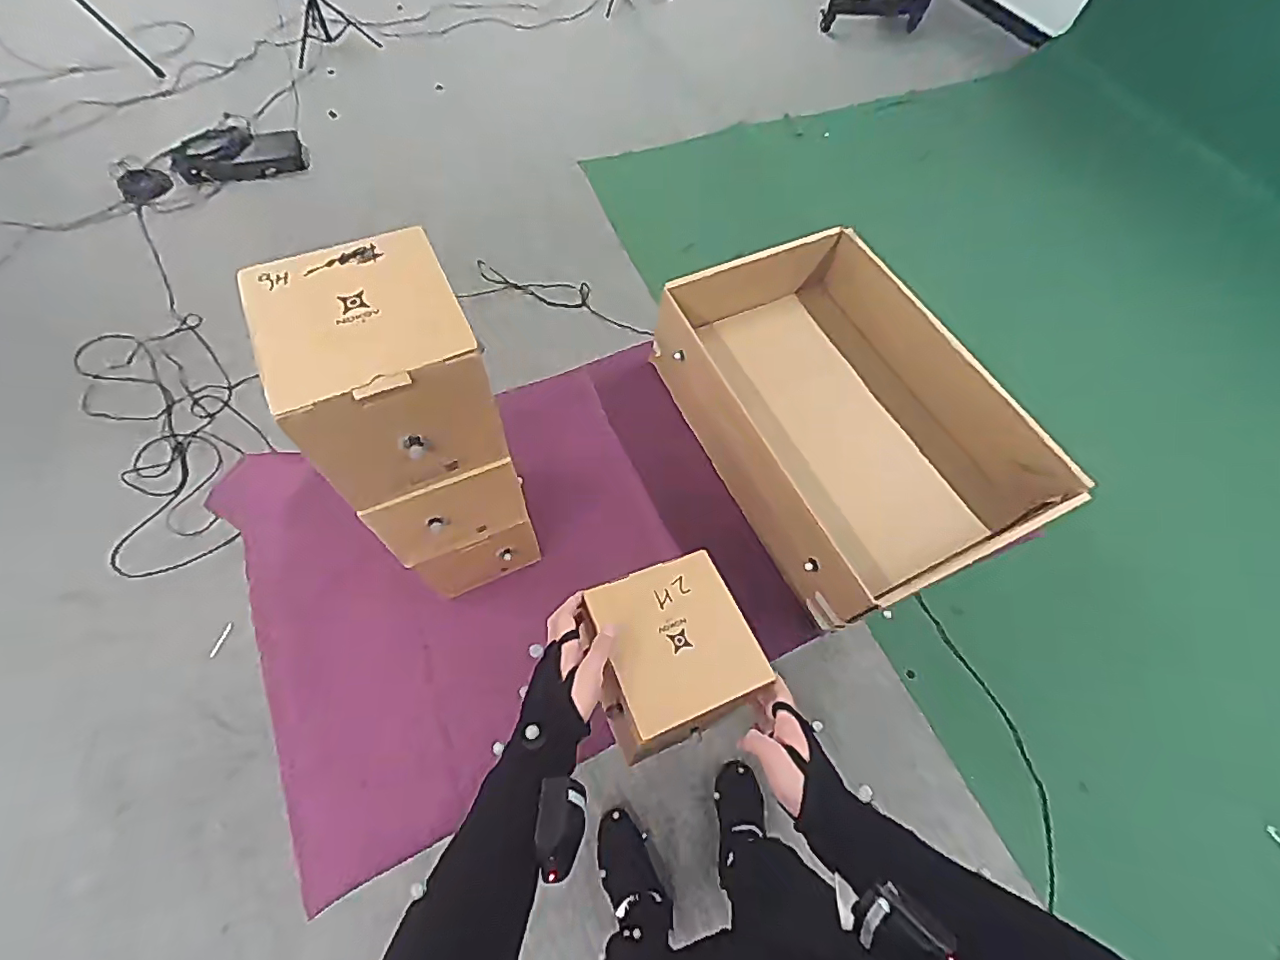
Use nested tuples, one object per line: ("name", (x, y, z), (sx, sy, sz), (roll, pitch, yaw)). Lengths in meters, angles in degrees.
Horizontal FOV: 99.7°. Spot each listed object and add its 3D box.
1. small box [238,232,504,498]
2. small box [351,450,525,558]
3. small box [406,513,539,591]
("small box", (-0.248, -0.101, 0.532), (0.168, 0.176, 0.179), (-22, 66, -15))
("small box", (-0.255, -0.019, 0.675), (0.168, 0.176, 0.179), (-22, 65, -14))
("small box", (-0.263, 0.052, 0.819), (0.168, 0.176, 0.179), (-22, 65, -15))
